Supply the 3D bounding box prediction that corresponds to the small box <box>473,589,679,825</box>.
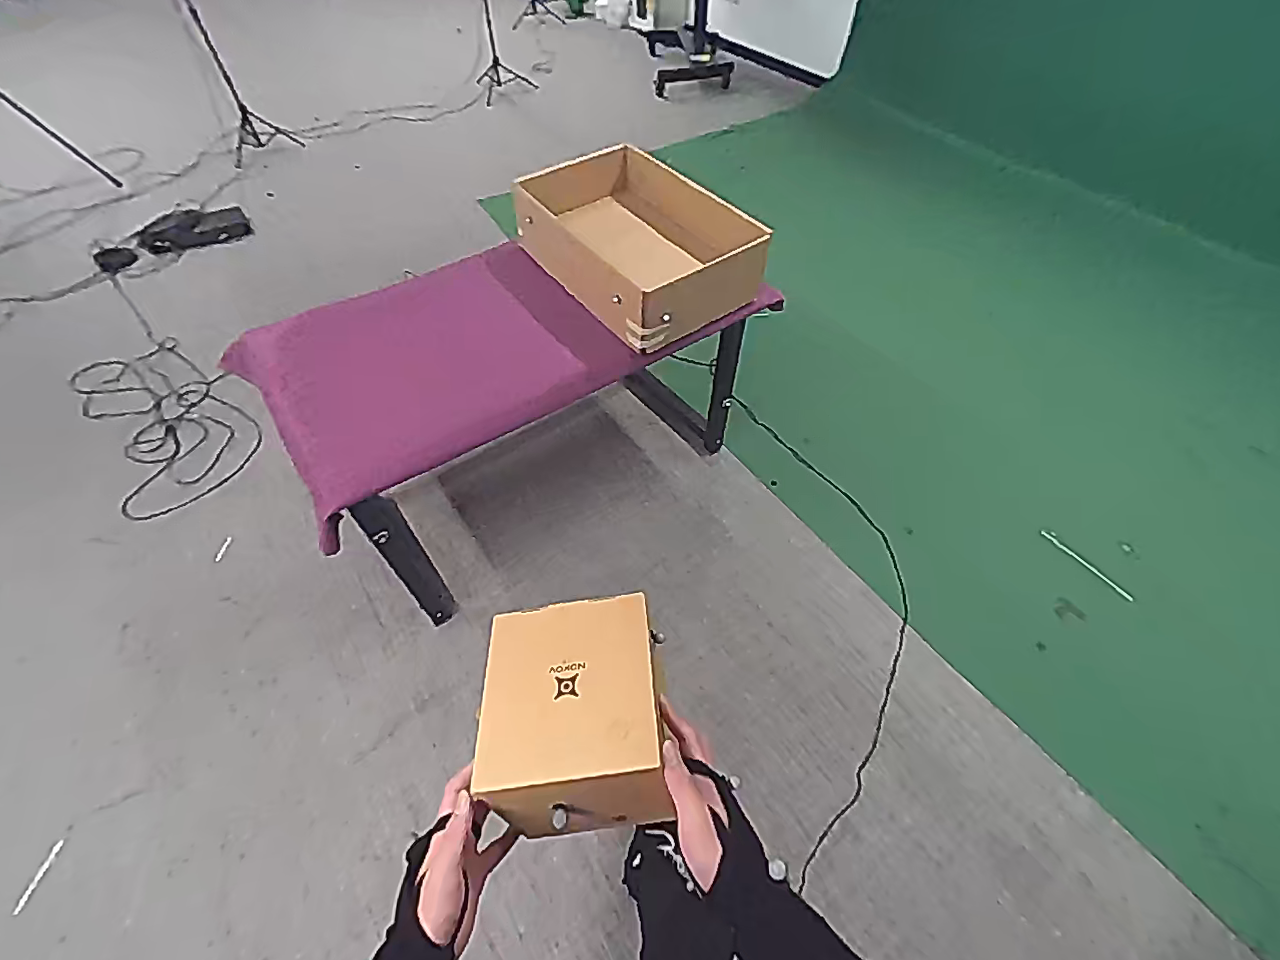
[{"bbox_3d":[-0.056,0.244,0.571,0.168,0.176,0.179,-10,44,3],"label":"small box"}]
